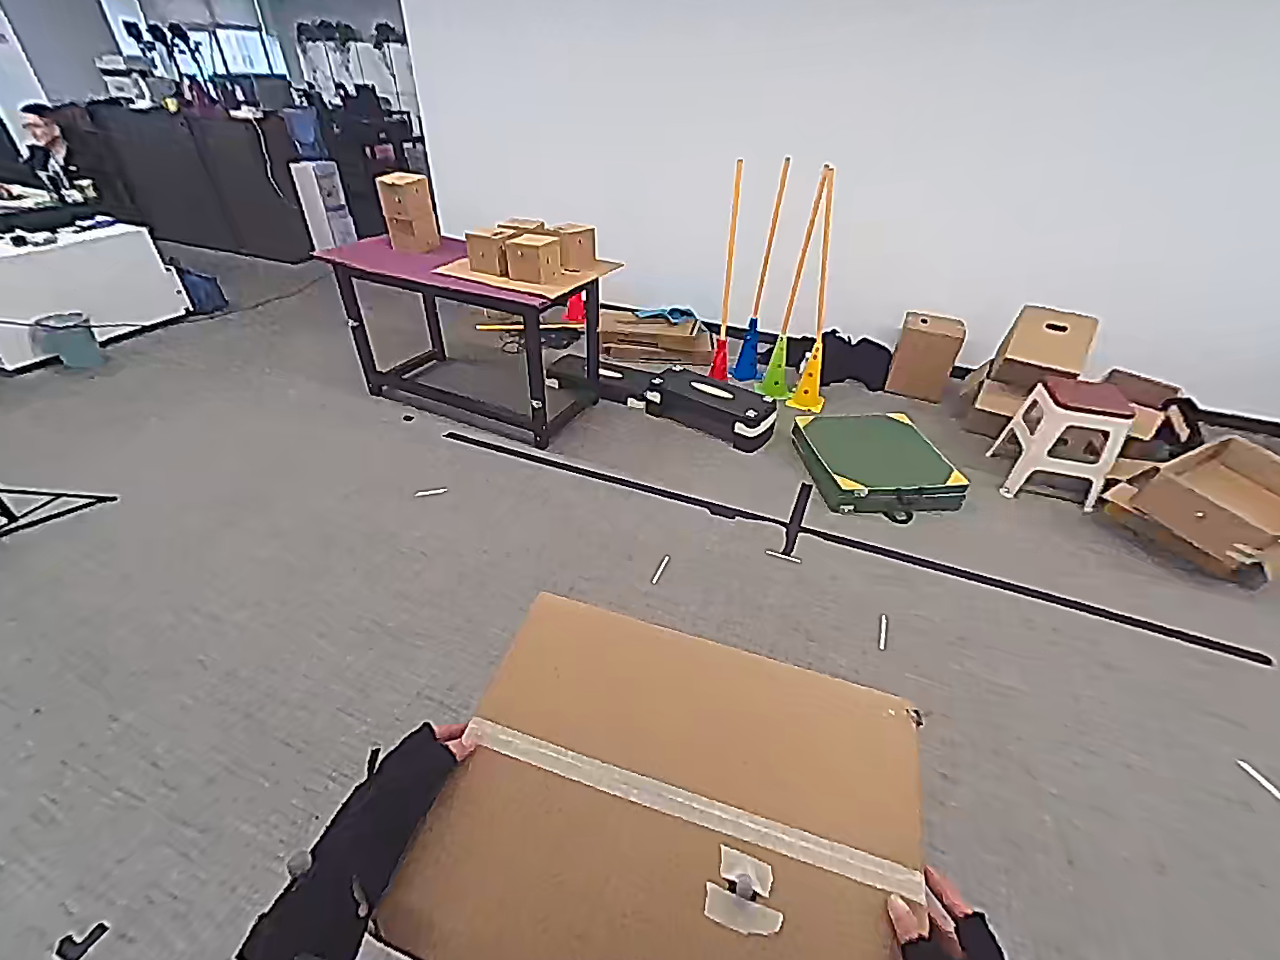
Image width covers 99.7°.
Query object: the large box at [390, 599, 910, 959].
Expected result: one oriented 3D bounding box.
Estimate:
[{"bbox_3d":[0.029,0.385,0.594,0.408,0.320,0.320,14,48,11],"label":"large box"}]
